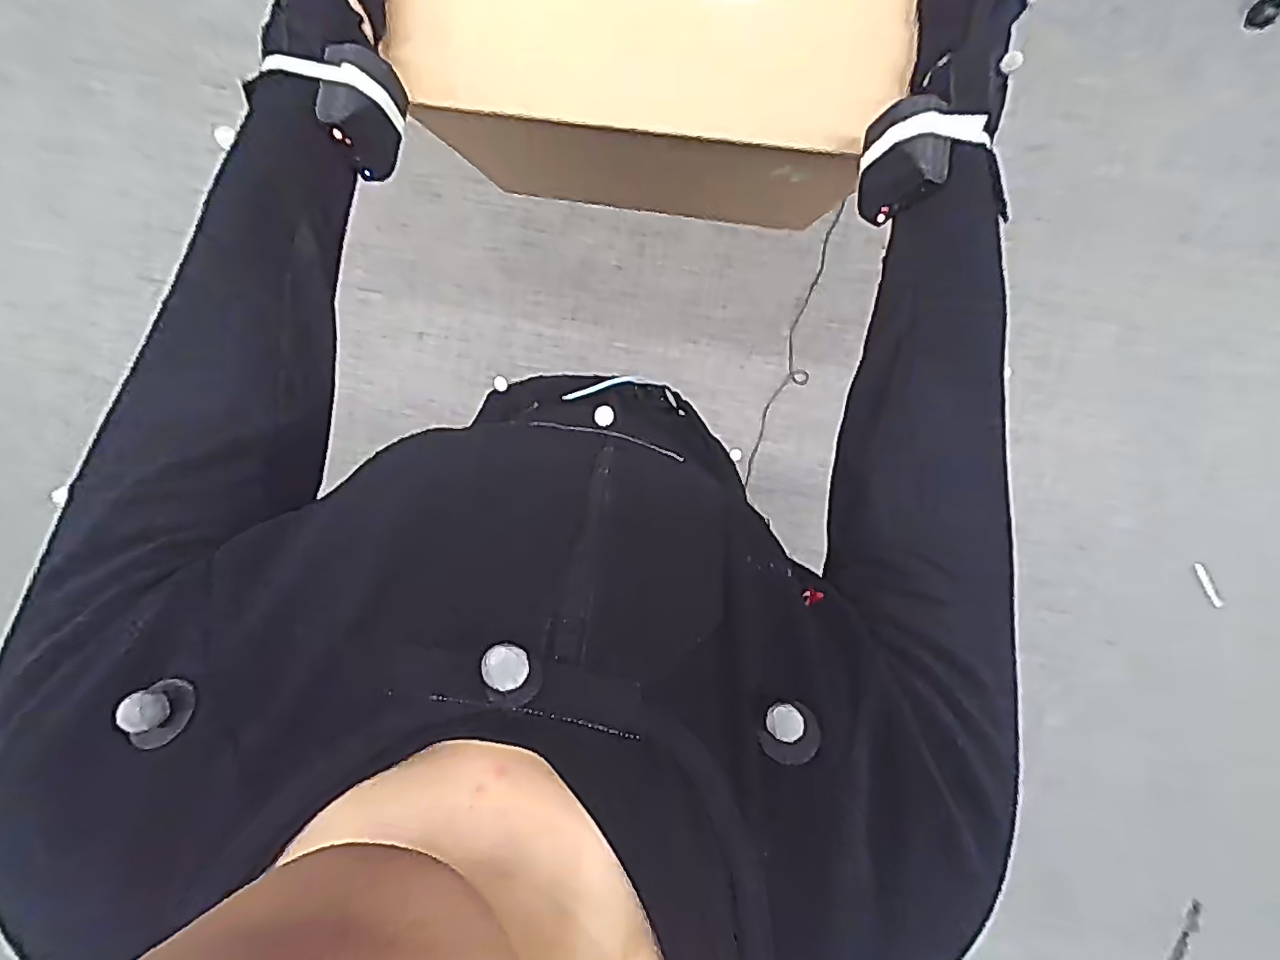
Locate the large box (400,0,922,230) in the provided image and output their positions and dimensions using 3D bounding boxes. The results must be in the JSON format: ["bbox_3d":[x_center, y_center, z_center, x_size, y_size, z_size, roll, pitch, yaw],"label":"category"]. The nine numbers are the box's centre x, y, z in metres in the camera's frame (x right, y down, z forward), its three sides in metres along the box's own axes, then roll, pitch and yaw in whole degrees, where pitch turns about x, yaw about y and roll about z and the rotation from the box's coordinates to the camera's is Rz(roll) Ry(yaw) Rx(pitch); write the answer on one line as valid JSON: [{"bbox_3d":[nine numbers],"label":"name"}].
[{"bbox_3d":[0.025,-0.461,0.539,0.408,0.320,0.320,7,106,1],"label":"large box"}]
